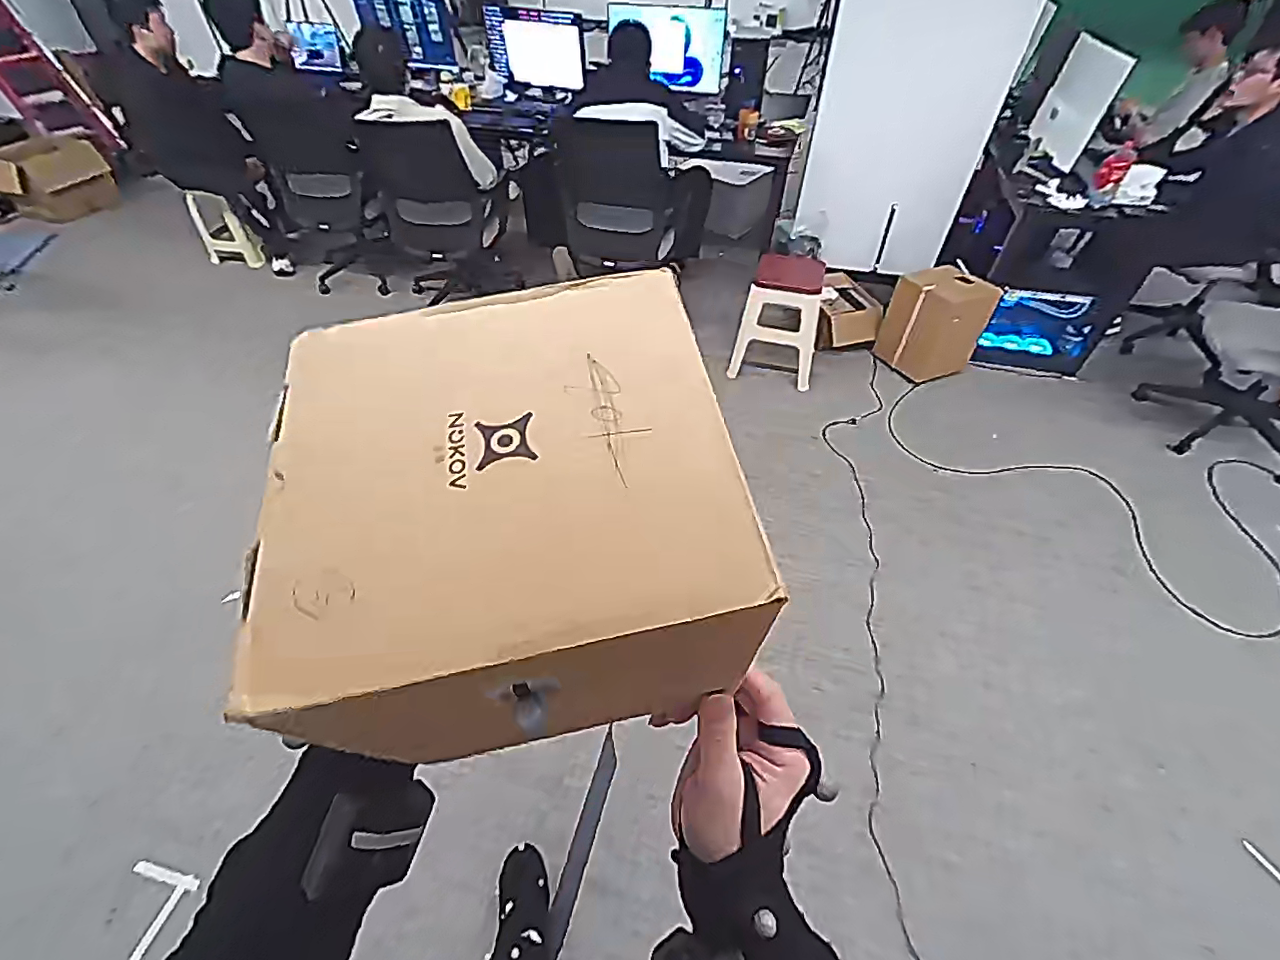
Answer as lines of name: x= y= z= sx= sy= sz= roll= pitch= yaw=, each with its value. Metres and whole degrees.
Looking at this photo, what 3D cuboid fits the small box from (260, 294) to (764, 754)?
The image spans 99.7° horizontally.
small box: x=-0.052 y=0.035 z=0.289 sx=0.179 sy=0.176 sz=0.168 roll=-13 pitch=59 yaw=-4
